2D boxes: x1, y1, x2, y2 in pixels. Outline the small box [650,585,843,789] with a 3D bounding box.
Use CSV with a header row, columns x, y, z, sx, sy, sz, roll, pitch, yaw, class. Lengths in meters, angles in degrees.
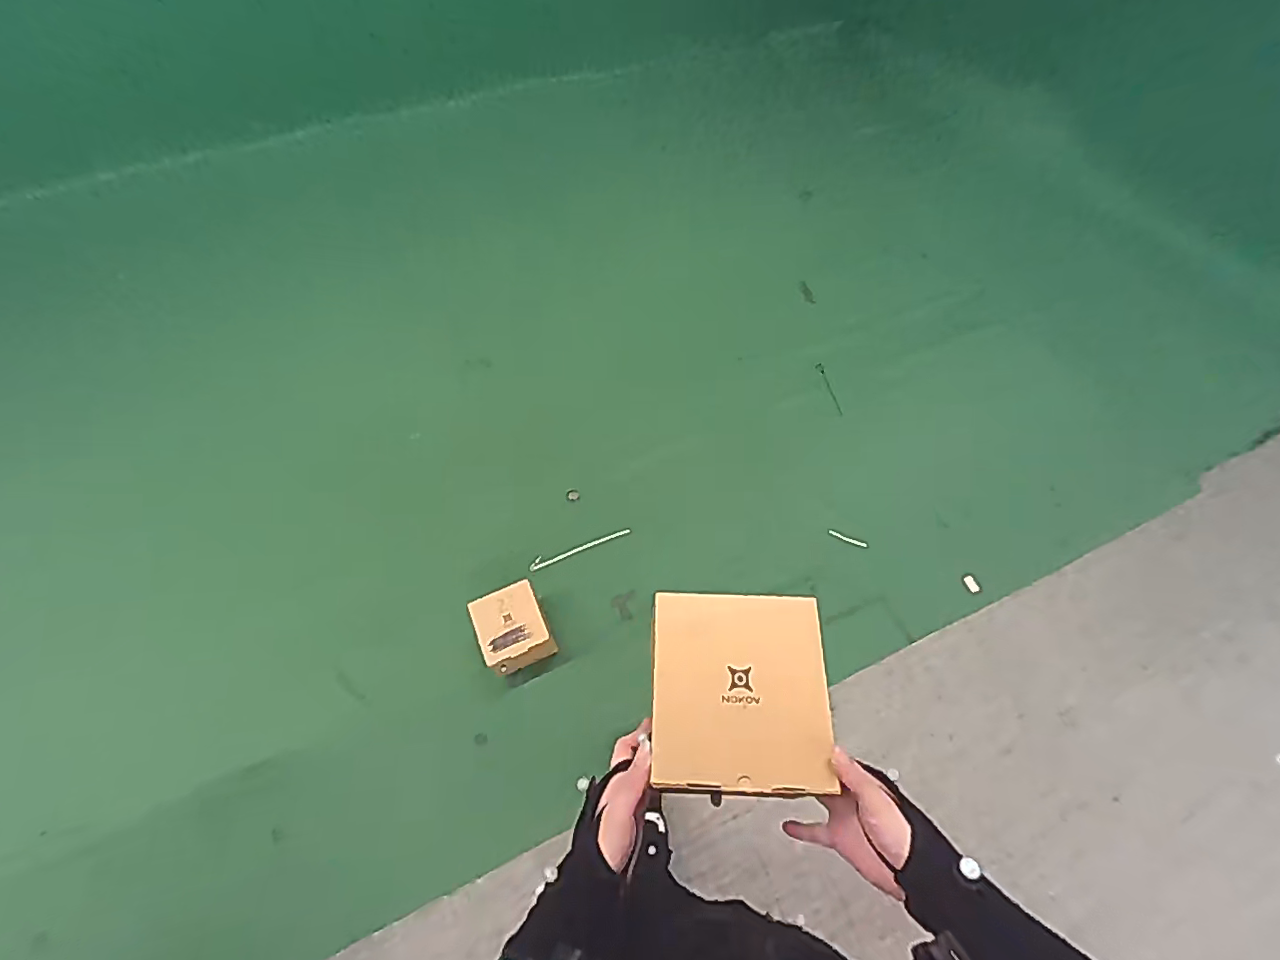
x,y,z,sx,sy,sz,roll,pitch,yaw,class
0.096,0.224,0.574,0.168,0.176,0.179,1,61,1,small box
